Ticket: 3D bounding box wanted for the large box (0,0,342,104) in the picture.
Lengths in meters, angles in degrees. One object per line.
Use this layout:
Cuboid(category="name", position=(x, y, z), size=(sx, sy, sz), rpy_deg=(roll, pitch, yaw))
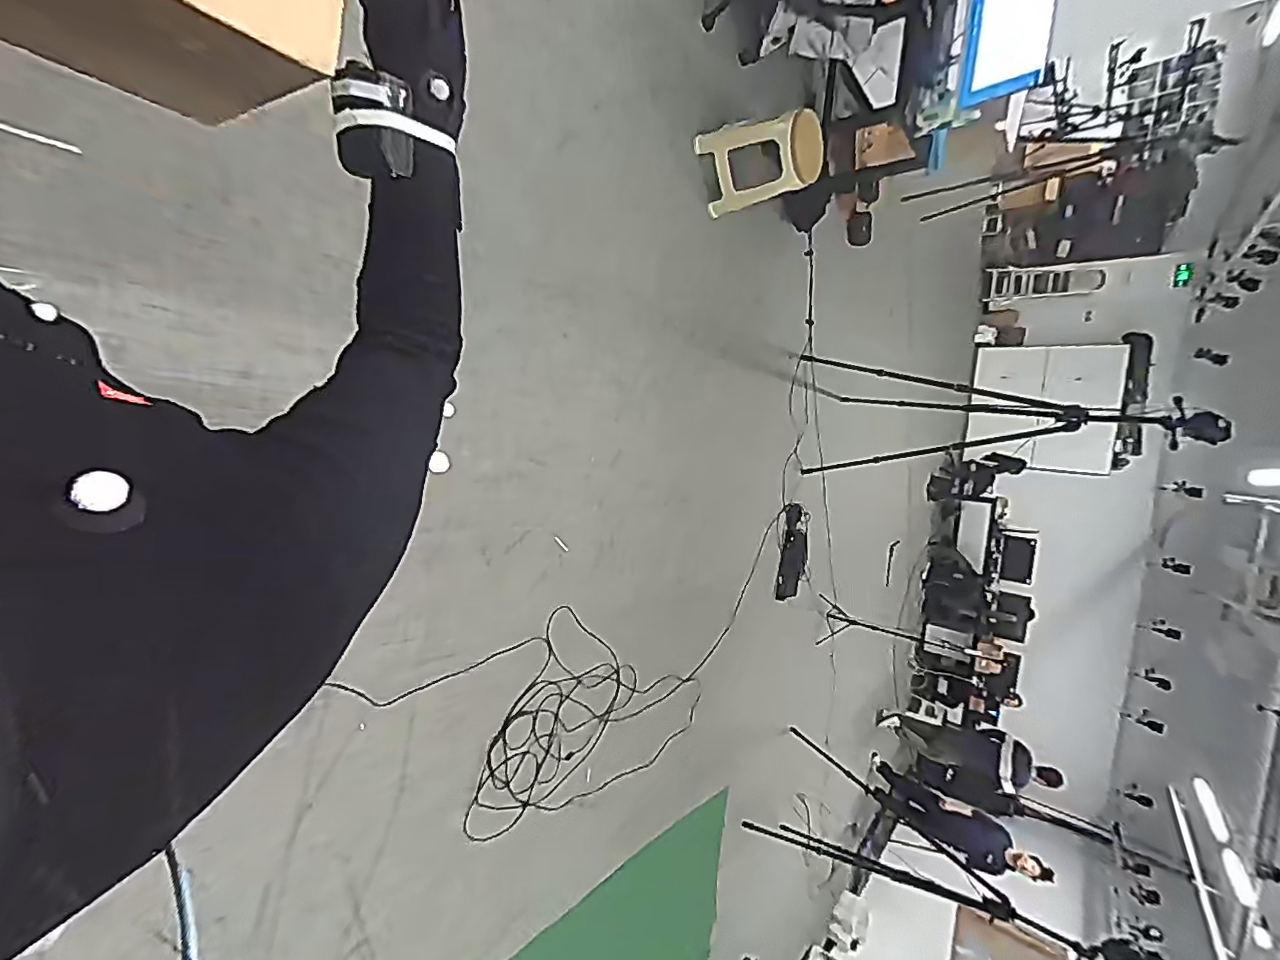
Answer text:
Cuboid(category="large box", position=(-0.412, -0.474, 0.277), size=(0.408, 0.320, 0.320), rpy_deg=(-1, 109, -50))
